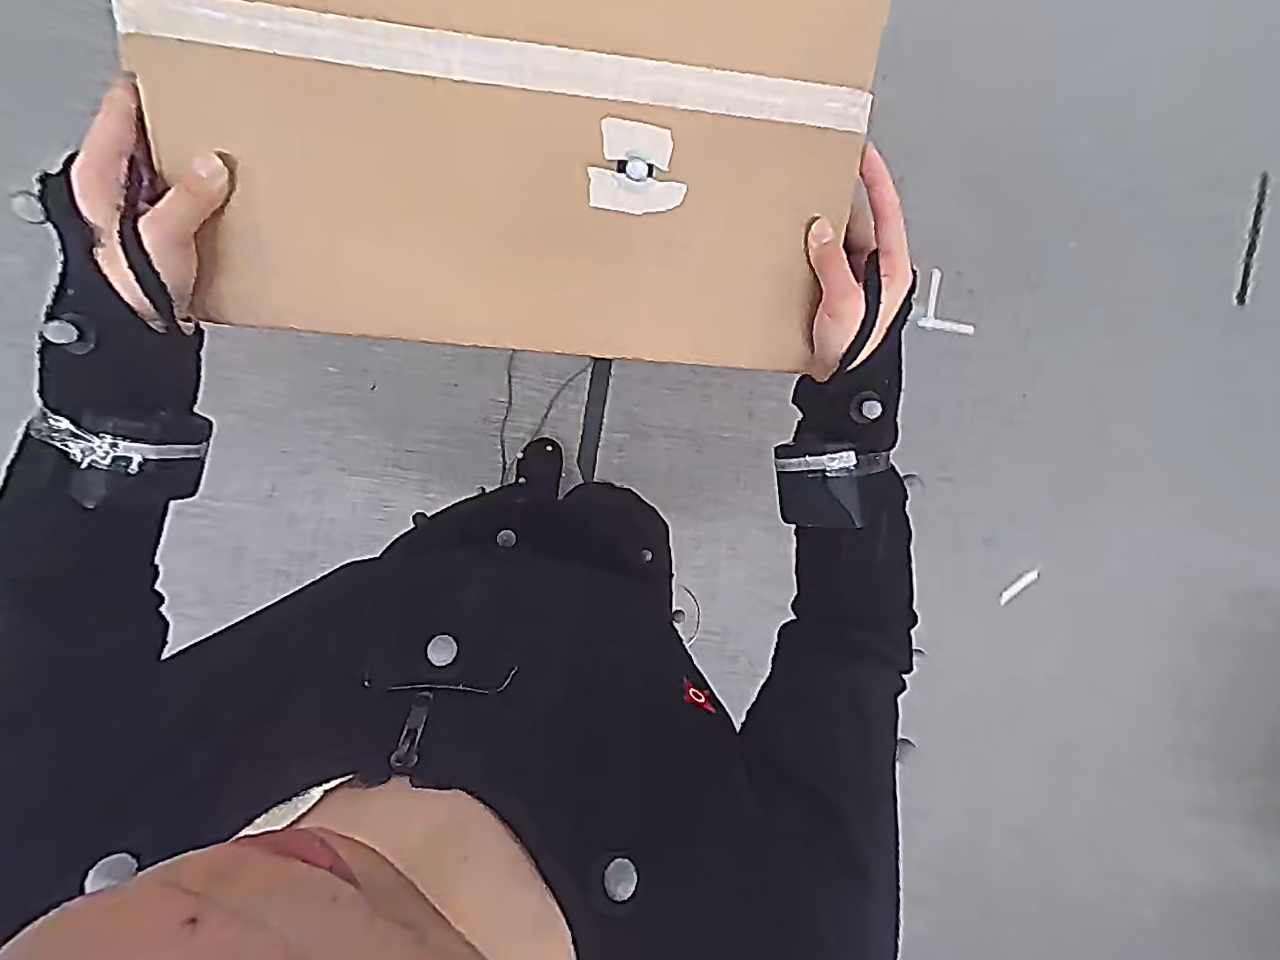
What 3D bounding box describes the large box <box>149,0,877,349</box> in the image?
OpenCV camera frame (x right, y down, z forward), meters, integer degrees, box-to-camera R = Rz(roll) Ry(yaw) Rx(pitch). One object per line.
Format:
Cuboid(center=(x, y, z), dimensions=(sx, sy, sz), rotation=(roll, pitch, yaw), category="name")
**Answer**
Cuboid(center=(-0.079, -0.296, 0.446), dimensions=(0.408, 0.320, 0.320), rotation=(3, 112, -7), category="large box")
